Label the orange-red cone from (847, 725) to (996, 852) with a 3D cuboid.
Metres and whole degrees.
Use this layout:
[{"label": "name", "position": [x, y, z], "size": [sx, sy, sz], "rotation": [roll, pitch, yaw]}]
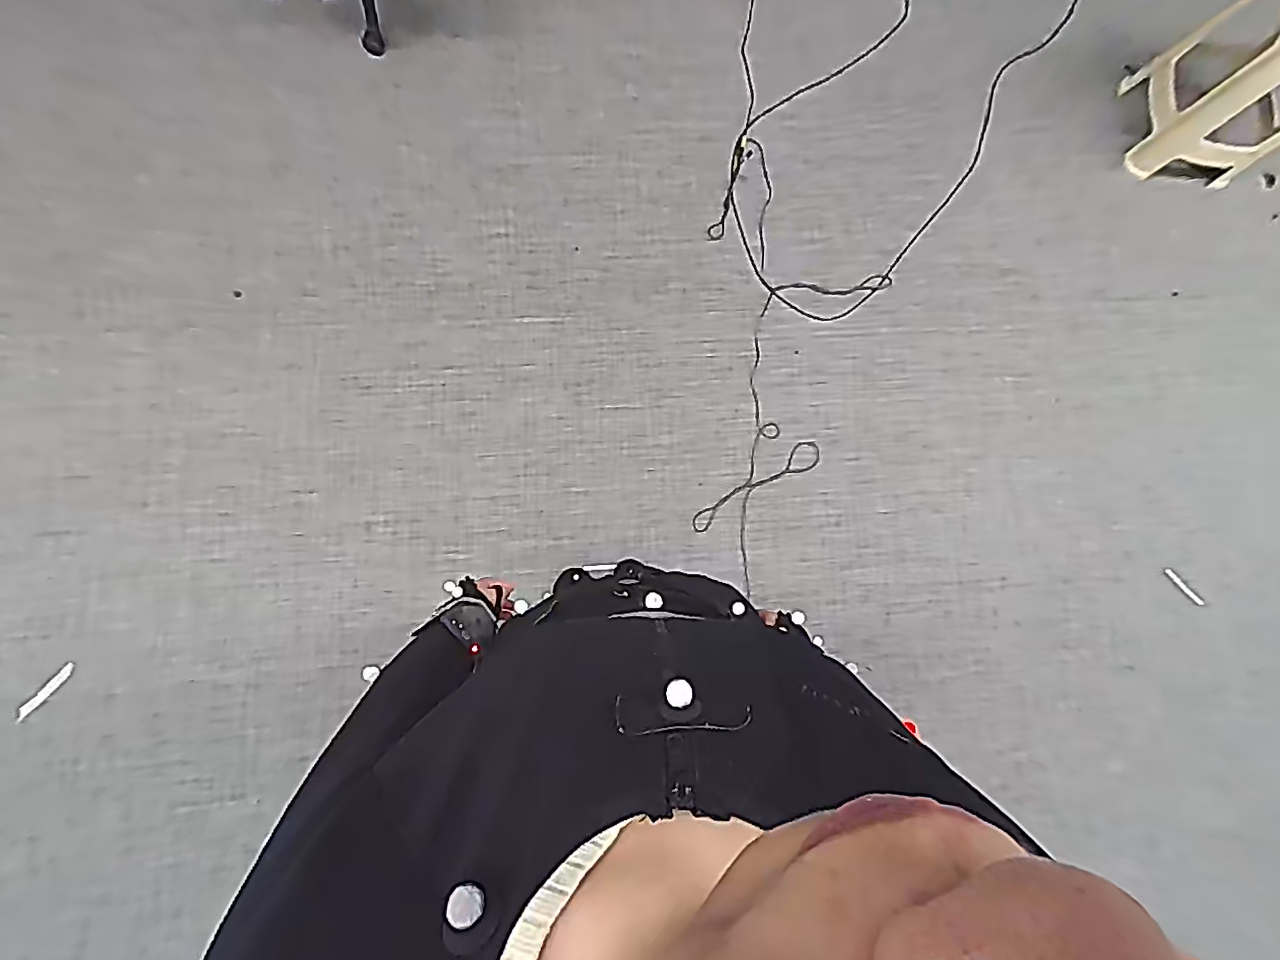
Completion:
[{"label": "orange-red cone", "position": [0.638, 0.705, 1.188], "size": [0.199, 0.360, 0.198], "rotation": [-8, 83, -5]}]
